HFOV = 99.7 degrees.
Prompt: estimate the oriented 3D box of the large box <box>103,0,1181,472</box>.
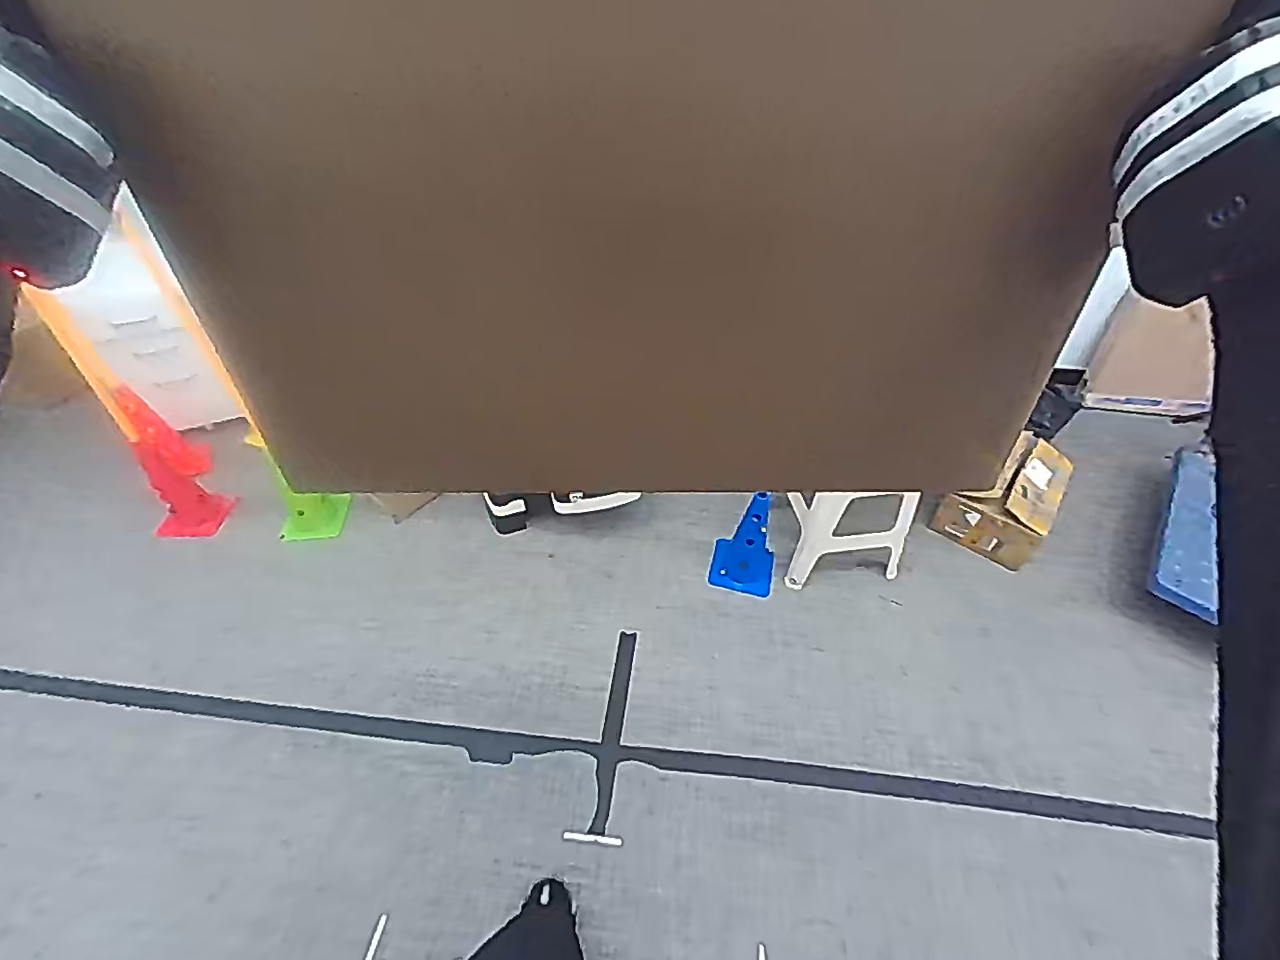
[{"bbox_3d":[0.000,-0.213,0.350,0.408,0.320,0.320,0,38,0],"label":"large box"}]
